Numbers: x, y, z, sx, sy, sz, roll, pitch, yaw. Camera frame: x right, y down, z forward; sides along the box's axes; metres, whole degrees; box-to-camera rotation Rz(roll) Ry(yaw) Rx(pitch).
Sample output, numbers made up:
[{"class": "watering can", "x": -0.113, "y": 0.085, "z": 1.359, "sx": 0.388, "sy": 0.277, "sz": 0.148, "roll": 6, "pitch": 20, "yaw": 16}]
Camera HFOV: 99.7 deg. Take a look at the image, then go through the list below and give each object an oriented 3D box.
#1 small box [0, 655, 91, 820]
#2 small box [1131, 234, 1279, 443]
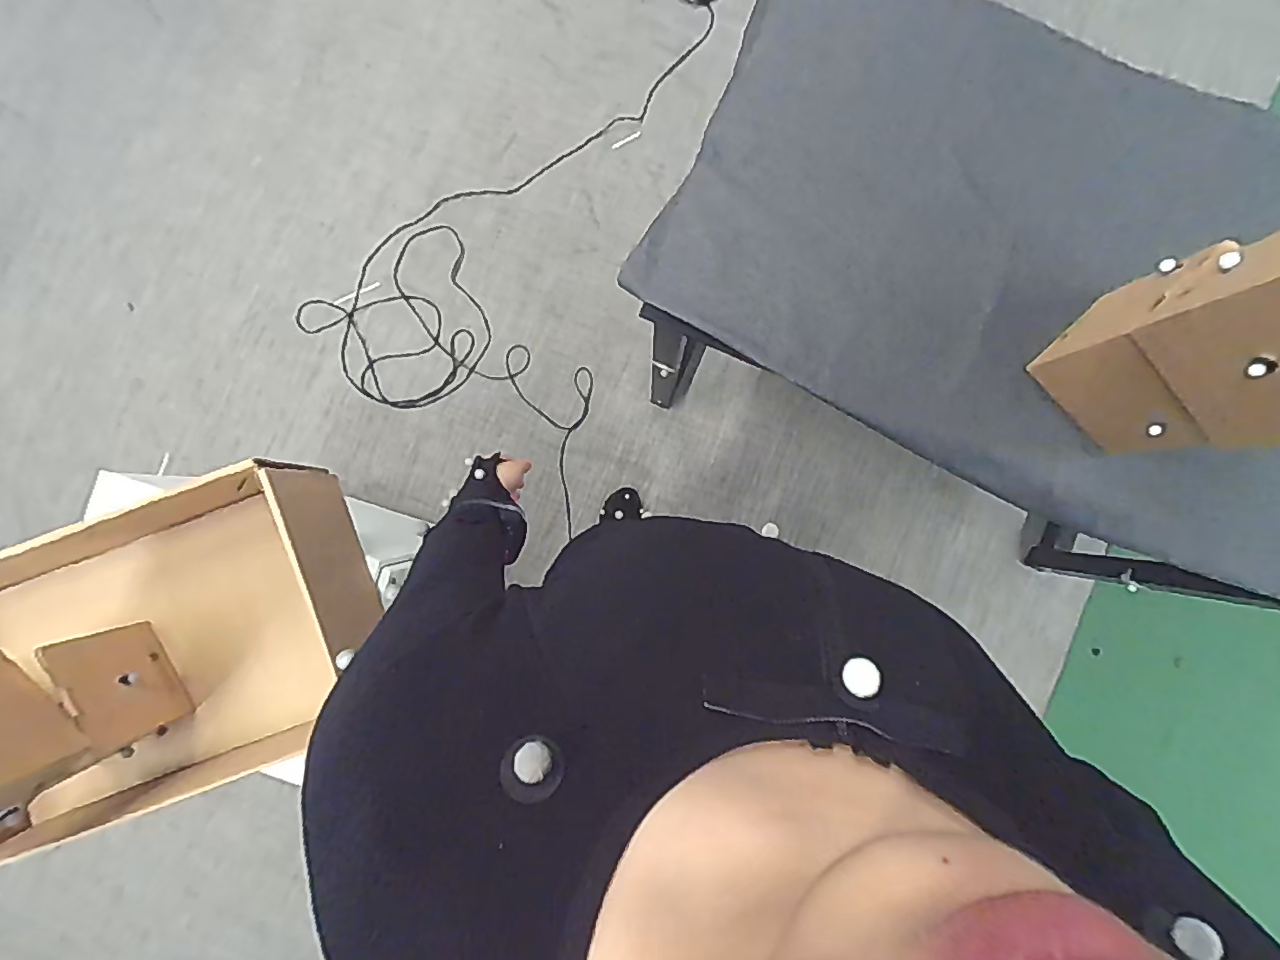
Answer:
[{"class": "small box", "x": -0.820, "y": 0.324, "z": 0.618, "sx": 0.179, "sy": 0.176, "sz": 0.168, "roll": 45, "pitch": 89, "yaw": -1}, {"class": "small box", "x": 0.660, "y": -0.149, "z": 0.527, "sx": 0.168, "sy": 0.176, "sz": 0.179, "roll": -35, "pitch": 87, "yaw": -2}]
